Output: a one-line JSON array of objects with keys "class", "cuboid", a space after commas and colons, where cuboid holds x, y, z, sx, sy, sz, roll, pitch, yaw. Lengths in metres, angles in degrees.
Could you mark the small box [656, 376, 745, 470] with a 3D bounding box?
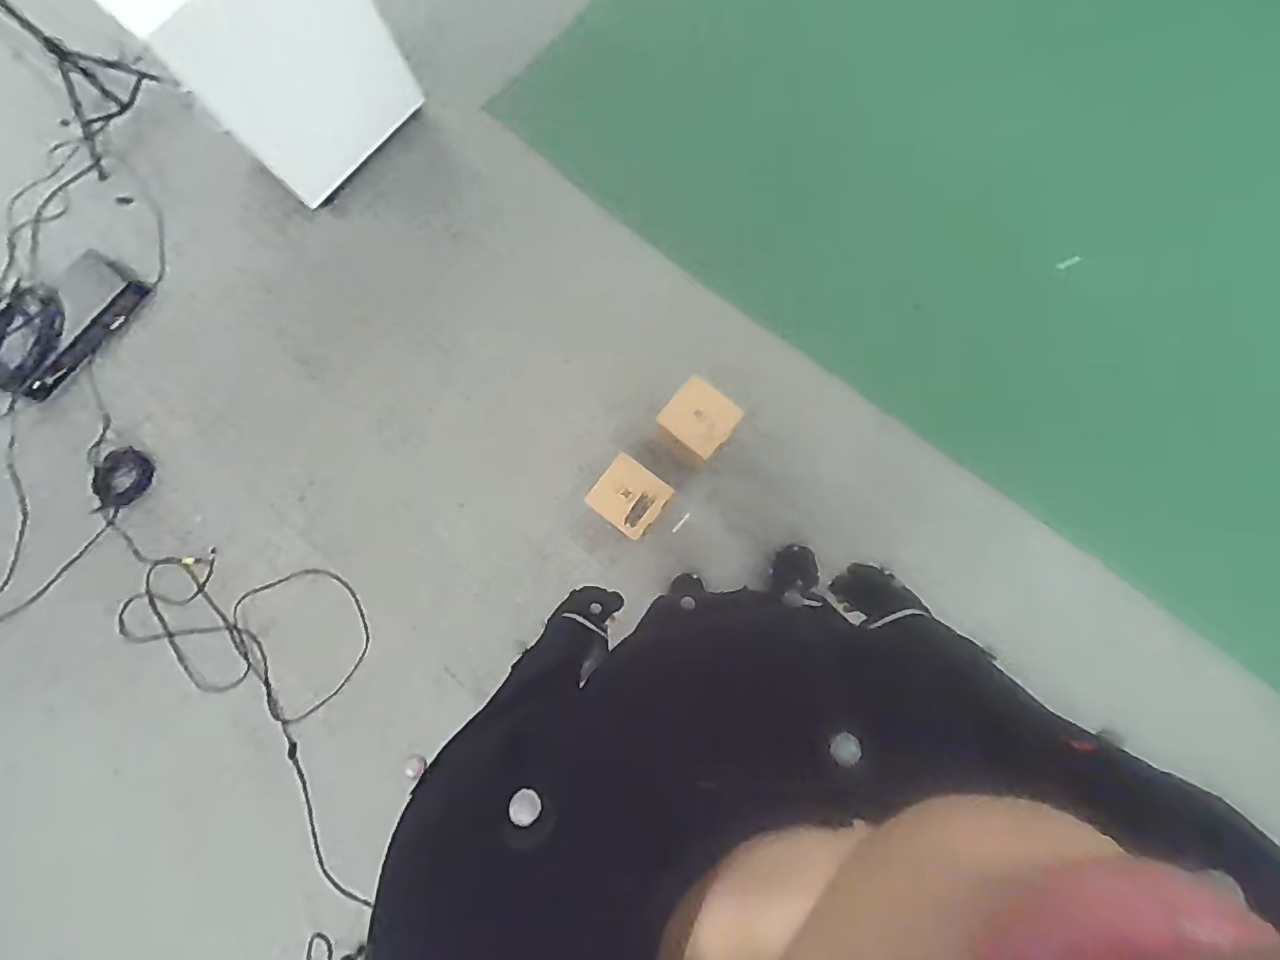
[{"class": "small box", "cuboid": [0.162, -0.147, 1.481, 0.179, 0.176, 0.168, 40, 85, 9]}]
